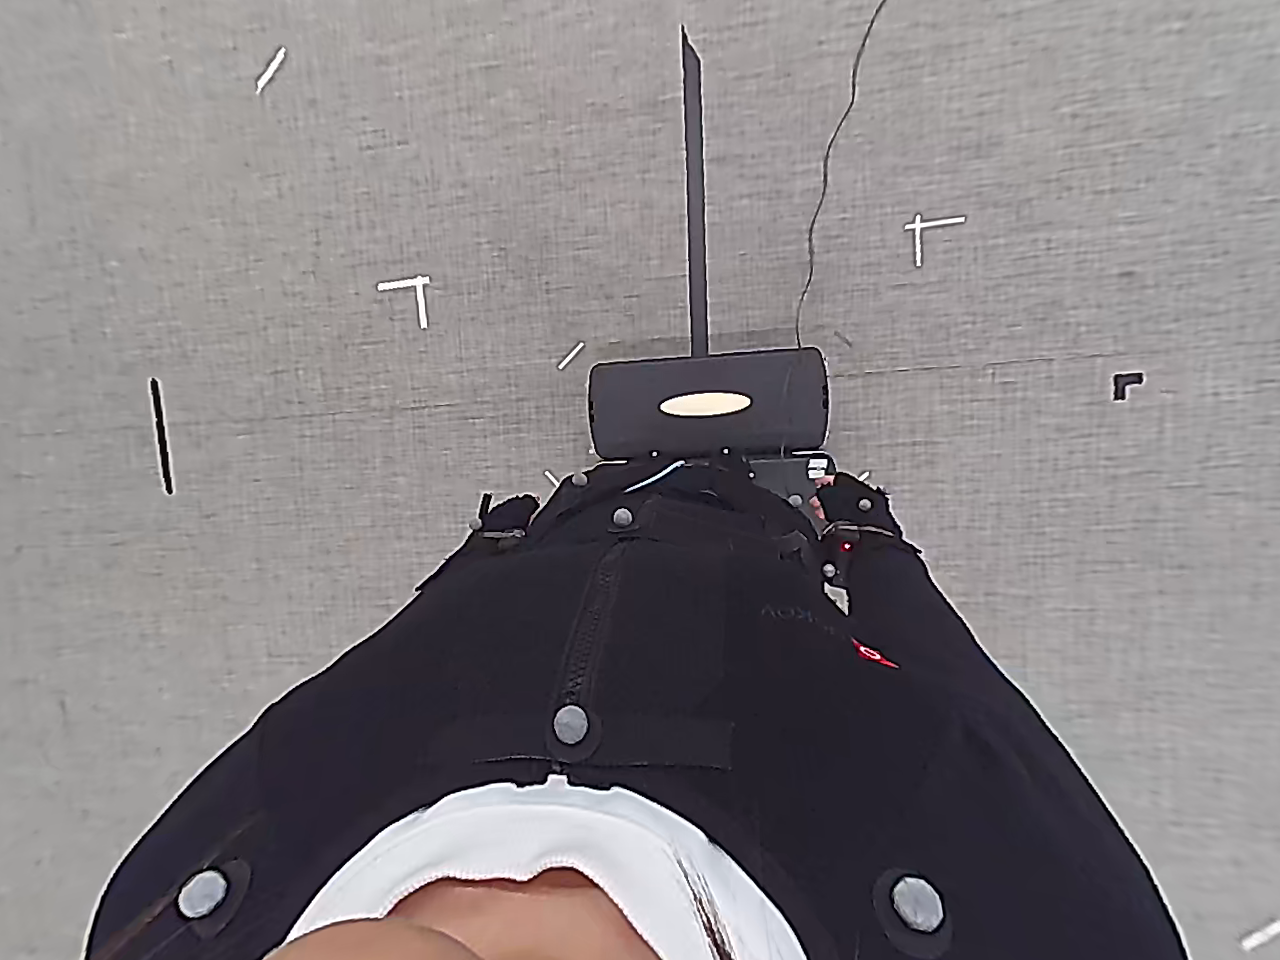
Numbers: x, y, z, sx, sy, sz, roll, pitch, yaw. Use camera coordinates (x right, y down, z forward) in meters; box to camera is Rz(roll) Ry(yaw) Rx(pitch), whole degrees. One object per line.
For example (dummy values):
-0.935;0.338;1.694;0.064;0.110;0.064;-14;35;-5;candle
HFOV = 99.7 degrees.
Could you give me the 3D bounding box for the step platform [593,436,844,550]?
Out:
0.210;0.039;1.519;0.684;0.204;0.286;-4;93;9;step platform
